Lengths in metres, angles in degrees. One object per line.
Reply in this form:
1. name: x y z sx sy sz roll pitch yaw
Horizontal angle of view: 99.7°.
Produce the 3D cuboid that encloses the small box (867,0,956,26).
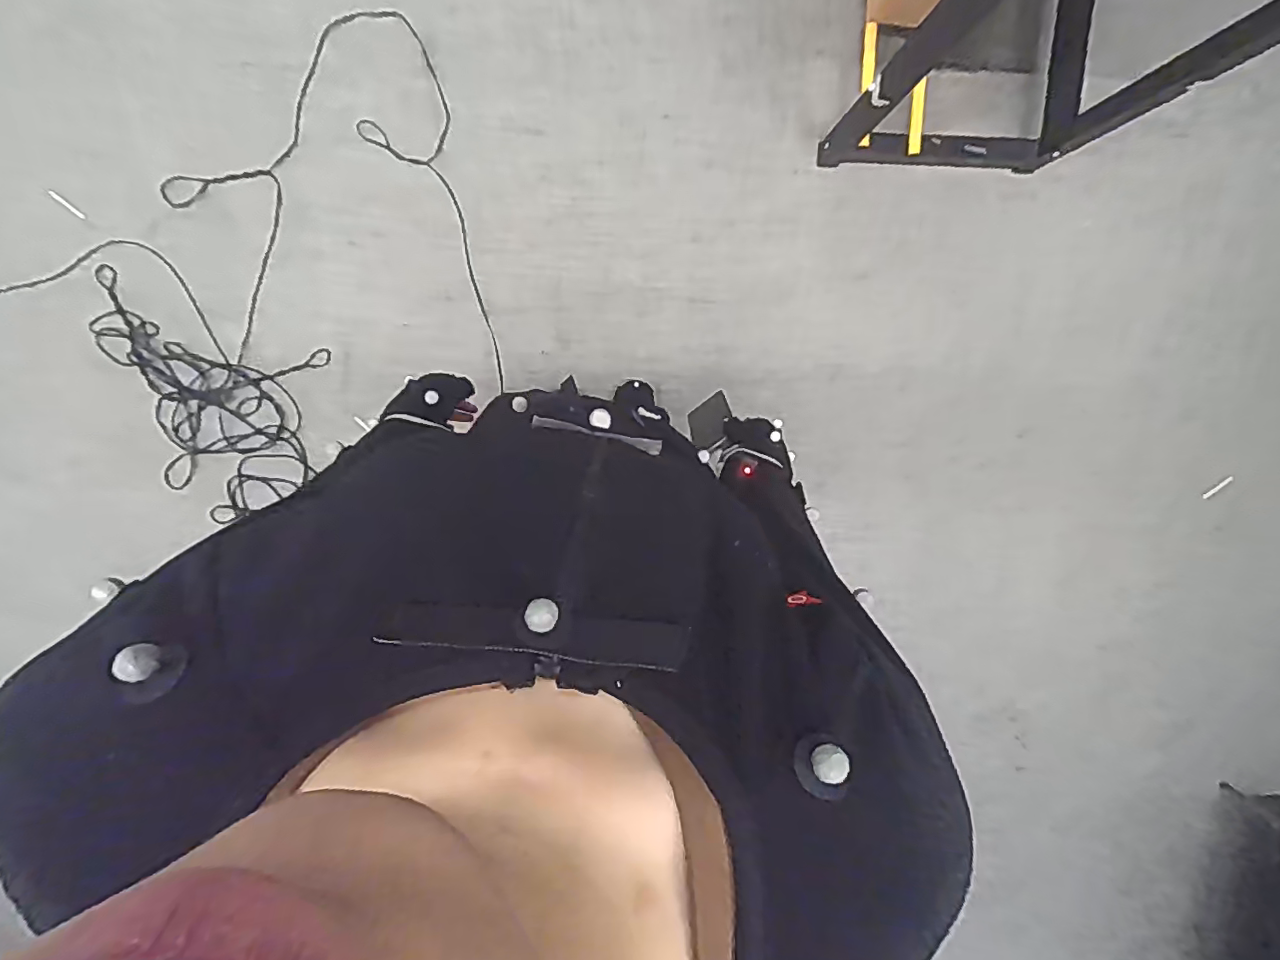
1. small box: 0.608 -1.116 1.150 0.179 0.176 0.168 4 99 -3
